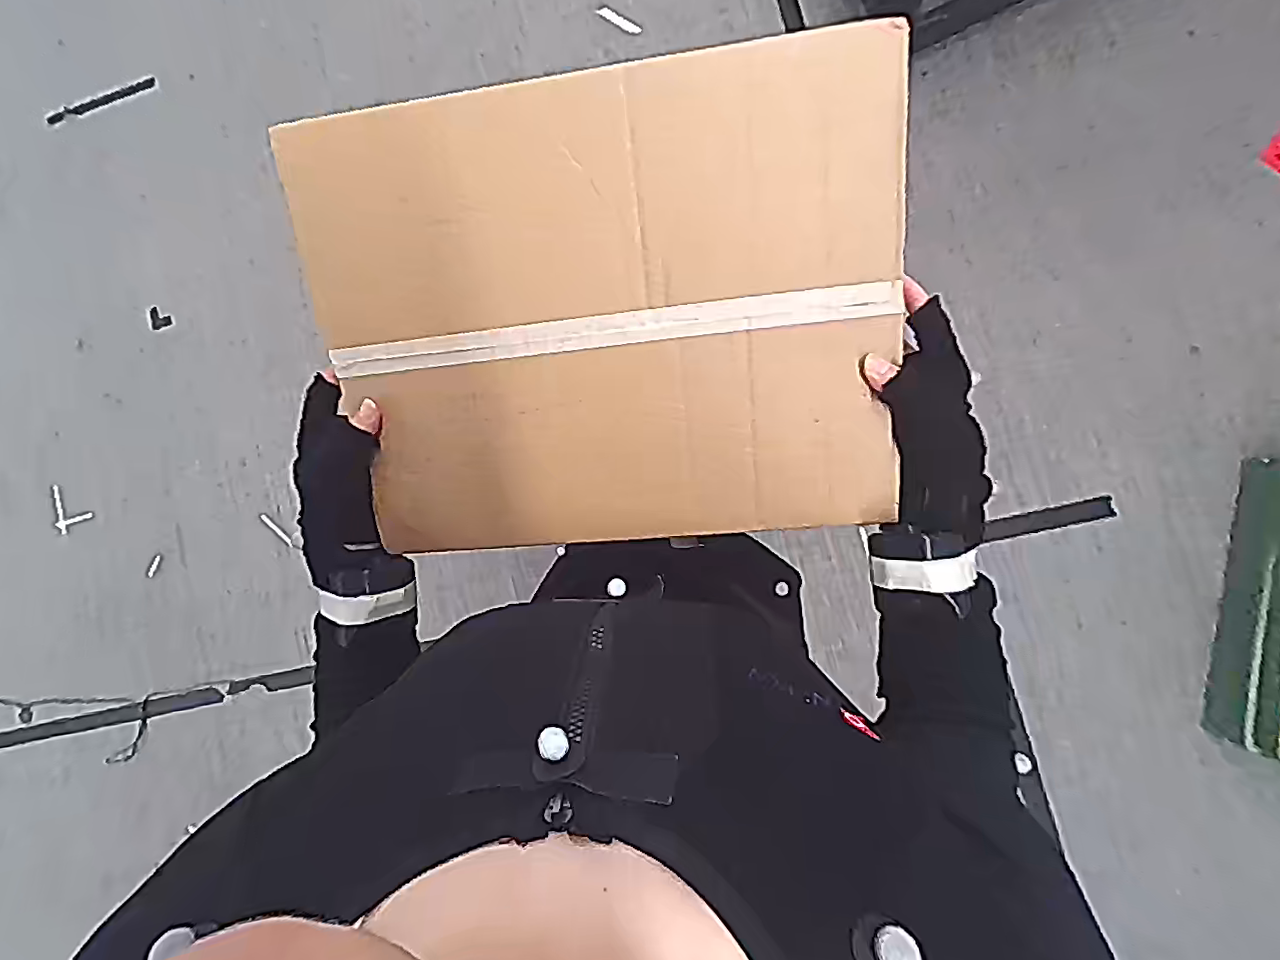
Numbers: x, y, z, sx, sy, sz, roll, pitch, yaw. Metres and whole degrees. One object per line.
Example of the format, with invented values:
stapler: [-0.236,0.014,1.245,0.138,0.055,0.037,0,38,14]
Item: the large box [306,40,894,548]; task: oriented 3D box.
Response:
large box: [-0.011,-0.147,0.536,0.408,0.320,0.320,-4,108,7]
